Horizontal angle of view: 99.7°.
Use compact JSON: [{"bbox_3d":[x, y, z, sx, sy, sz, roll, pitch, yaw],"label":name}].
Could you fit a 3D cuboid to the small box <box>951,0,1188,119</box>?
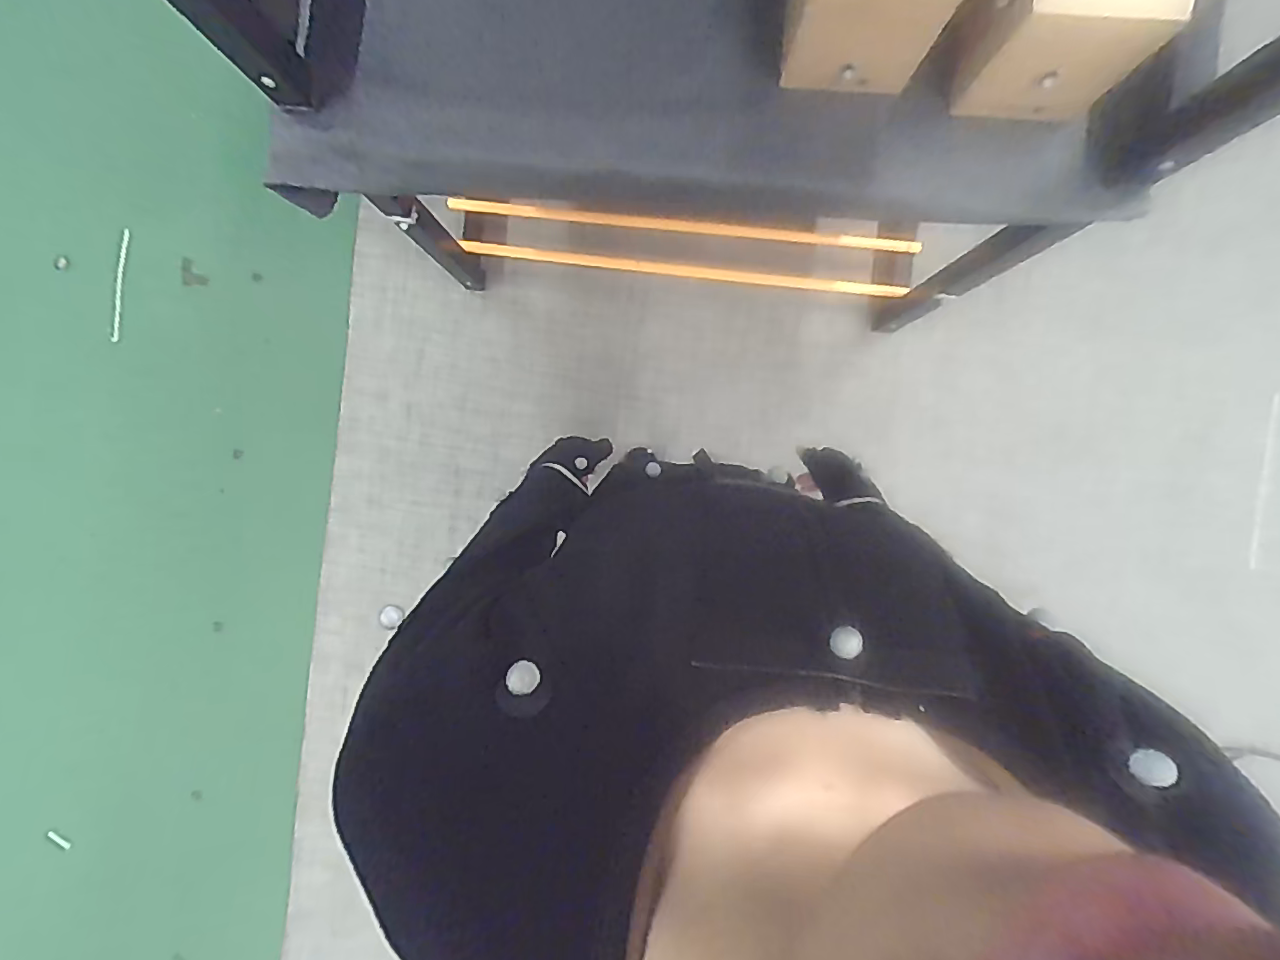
[{"bbox_3d":[0.503,-0.573,0.650,0.168,0.176,0.179,5,91,1],"label":"small box"}]
